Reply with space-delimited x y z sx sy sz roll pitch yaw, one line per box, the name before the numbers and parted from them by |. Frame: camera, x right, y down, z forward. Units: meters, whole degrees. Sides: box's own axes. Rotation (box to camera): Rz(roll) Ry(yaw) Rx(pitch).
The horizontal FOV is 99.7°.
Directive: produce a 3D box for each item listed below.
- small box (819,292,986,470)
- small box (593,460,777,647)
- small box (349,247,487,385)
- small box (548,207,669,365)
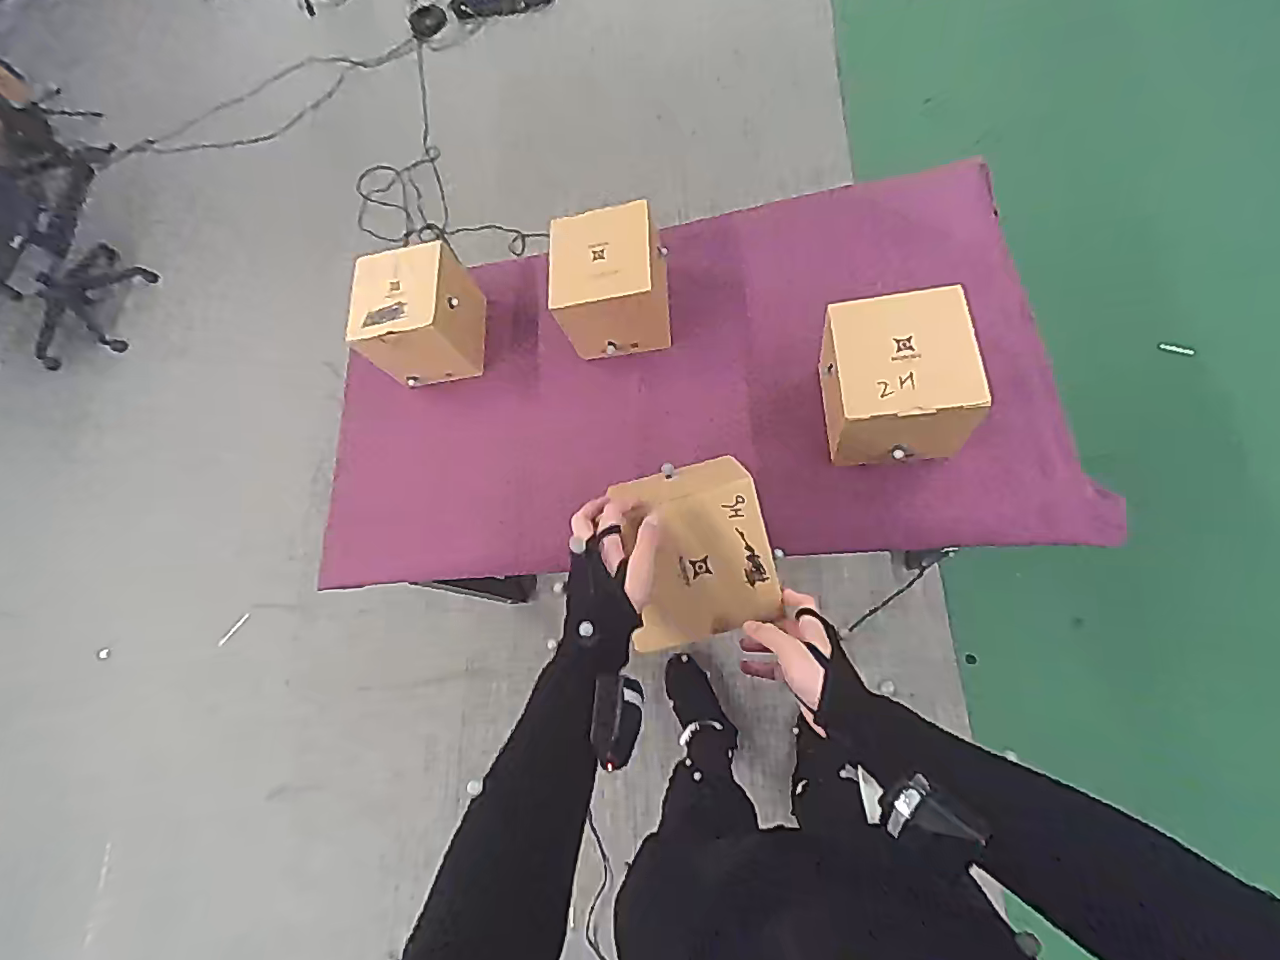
small box | 0.348 -0.129 0.755 0.168 0.176 0.179 -5 69 13
small box | 0.056 0.080 0.670 0.179 0.176 0.168 -13 100 5
small box | -0.396 -0.288 0.993 0.168 0.176 0.179 -7 70 11
small box | -0.047 -0.321 0.922 0.168 0.176 0.179 -6 71 13
